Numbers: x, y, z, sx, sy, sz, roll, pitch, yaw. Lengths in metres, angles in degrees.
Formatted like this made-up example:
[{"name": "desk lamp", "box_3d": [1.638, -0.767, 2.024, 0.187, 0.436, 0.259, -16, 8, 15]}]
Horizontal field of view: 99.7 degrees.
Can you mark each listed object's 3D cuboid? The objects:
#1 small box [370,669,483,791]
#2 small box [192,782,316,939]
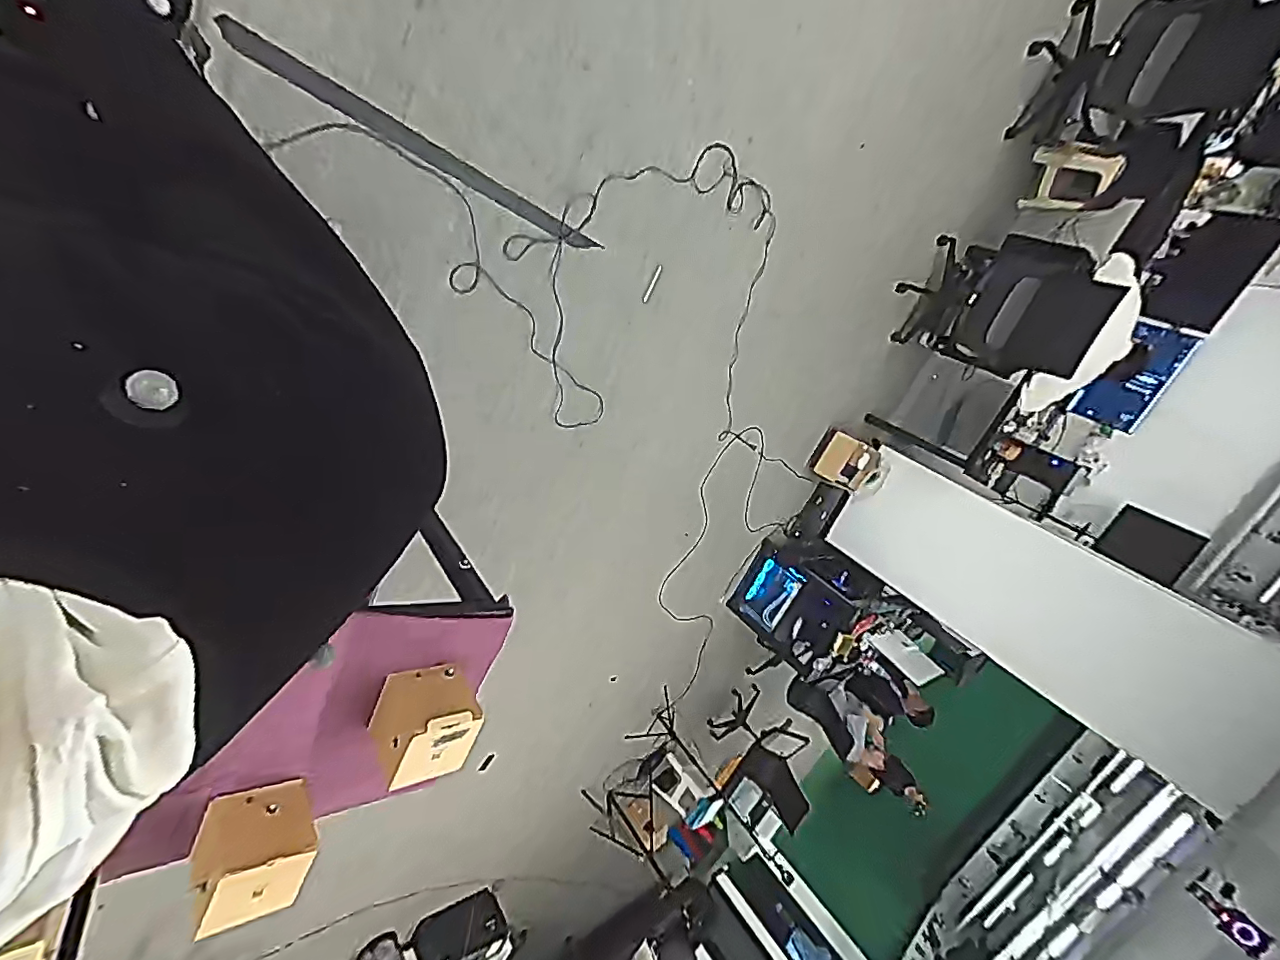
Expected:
[{"name": "small box", "box_3d": [-0.487, 0.549, 1.219, 0.168, 0.176, 0.179, 7, 116, -46]}, {"name": "small box", "box_3d": [-0.790, 0.761, 1.101, 0.168, 0.176, 0.179, 13, 110, -47]}]
